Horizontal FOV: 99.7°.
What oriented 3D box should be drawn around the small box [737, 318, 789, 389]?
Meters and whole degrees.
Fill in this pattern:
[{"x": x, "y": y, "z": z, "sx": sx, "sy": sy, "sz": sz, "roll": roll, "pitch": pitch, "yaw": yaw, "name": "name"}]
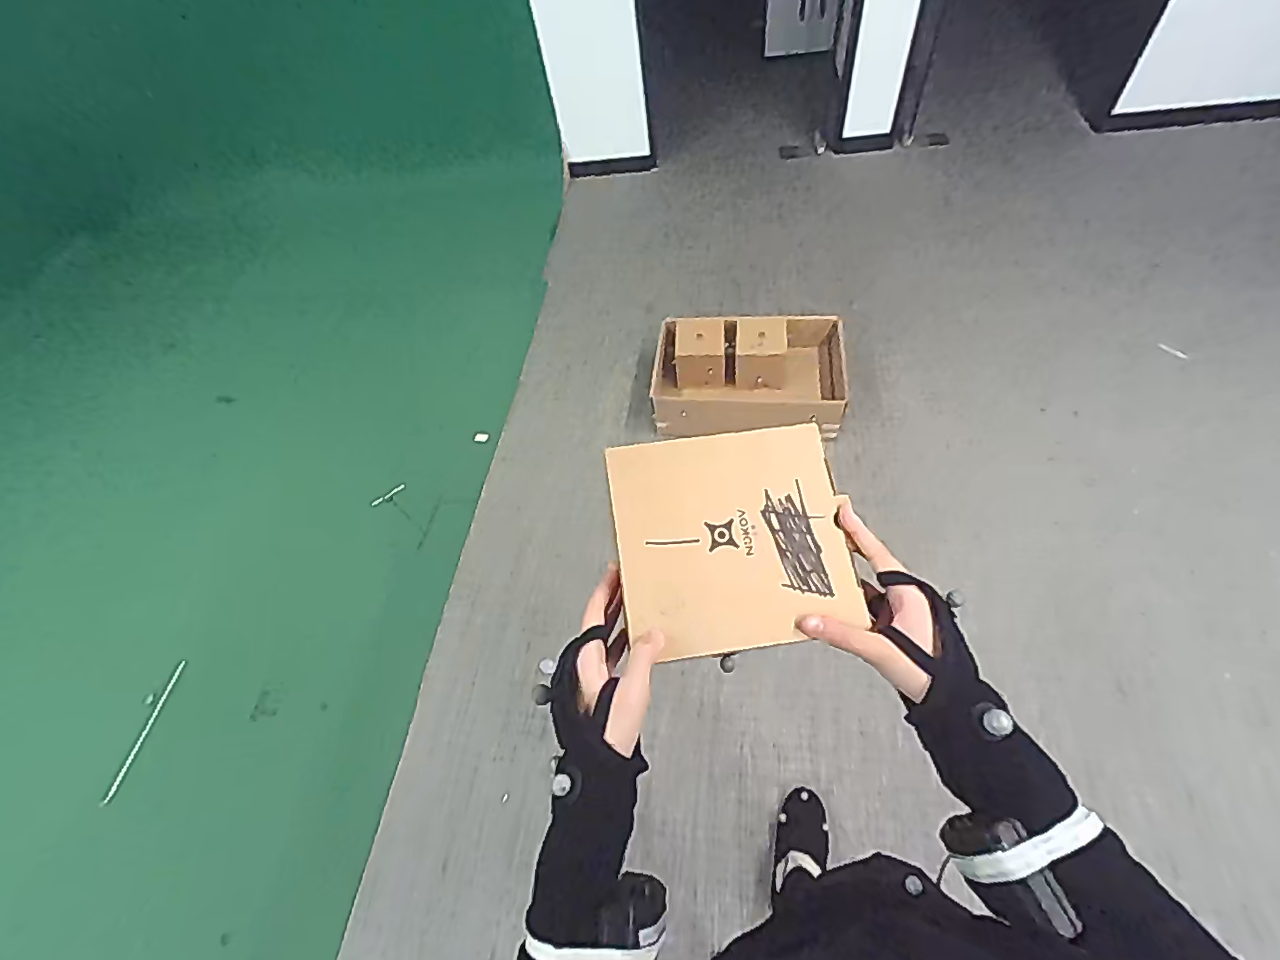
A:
[{"x": 0.420, "y": -0.434, "z": 1.856, "sx": 0.168, "sy": 0.176, "sz": 0.179, "roll": 1, "pitch": 57, "yaw": 12, "name": "small box"}]
